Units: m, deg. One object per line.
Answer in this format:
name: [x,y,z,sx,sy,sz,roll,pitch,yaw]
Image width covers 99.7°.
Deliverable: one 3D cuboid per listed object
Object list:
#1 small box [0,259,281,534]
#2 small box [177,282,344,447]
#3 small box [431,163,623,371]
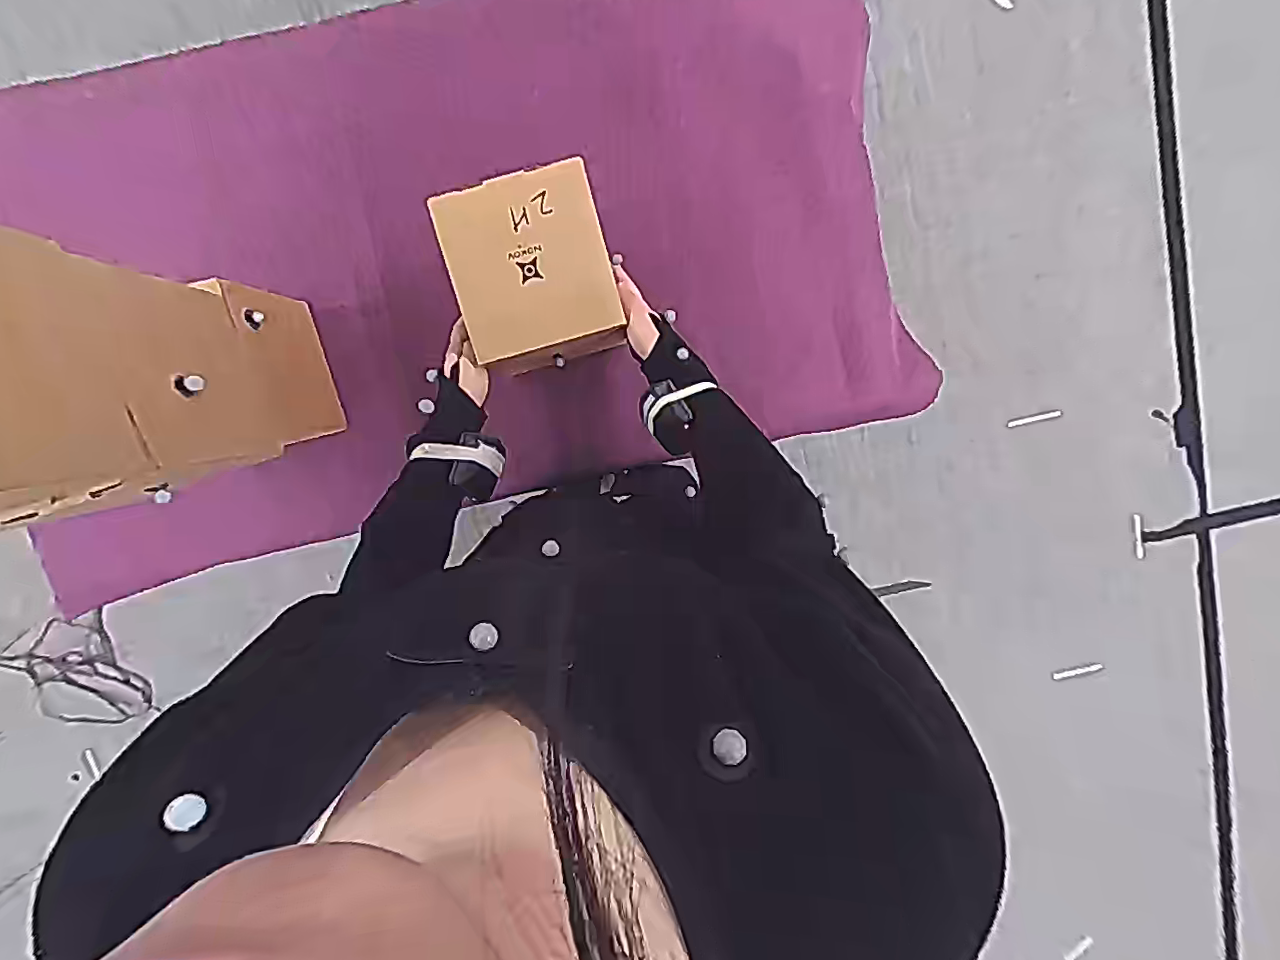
small box: [-0.479,-0.074,0.494,0.168,0.176,0.179,-19,99,0]
small box: [-0.494,-0.118,0.652,0.168,0.176,0.179,-14,99,0]
small box: [-0.117,-0.233,0.643,0.168,0.176,0.179,-16,97,0]
